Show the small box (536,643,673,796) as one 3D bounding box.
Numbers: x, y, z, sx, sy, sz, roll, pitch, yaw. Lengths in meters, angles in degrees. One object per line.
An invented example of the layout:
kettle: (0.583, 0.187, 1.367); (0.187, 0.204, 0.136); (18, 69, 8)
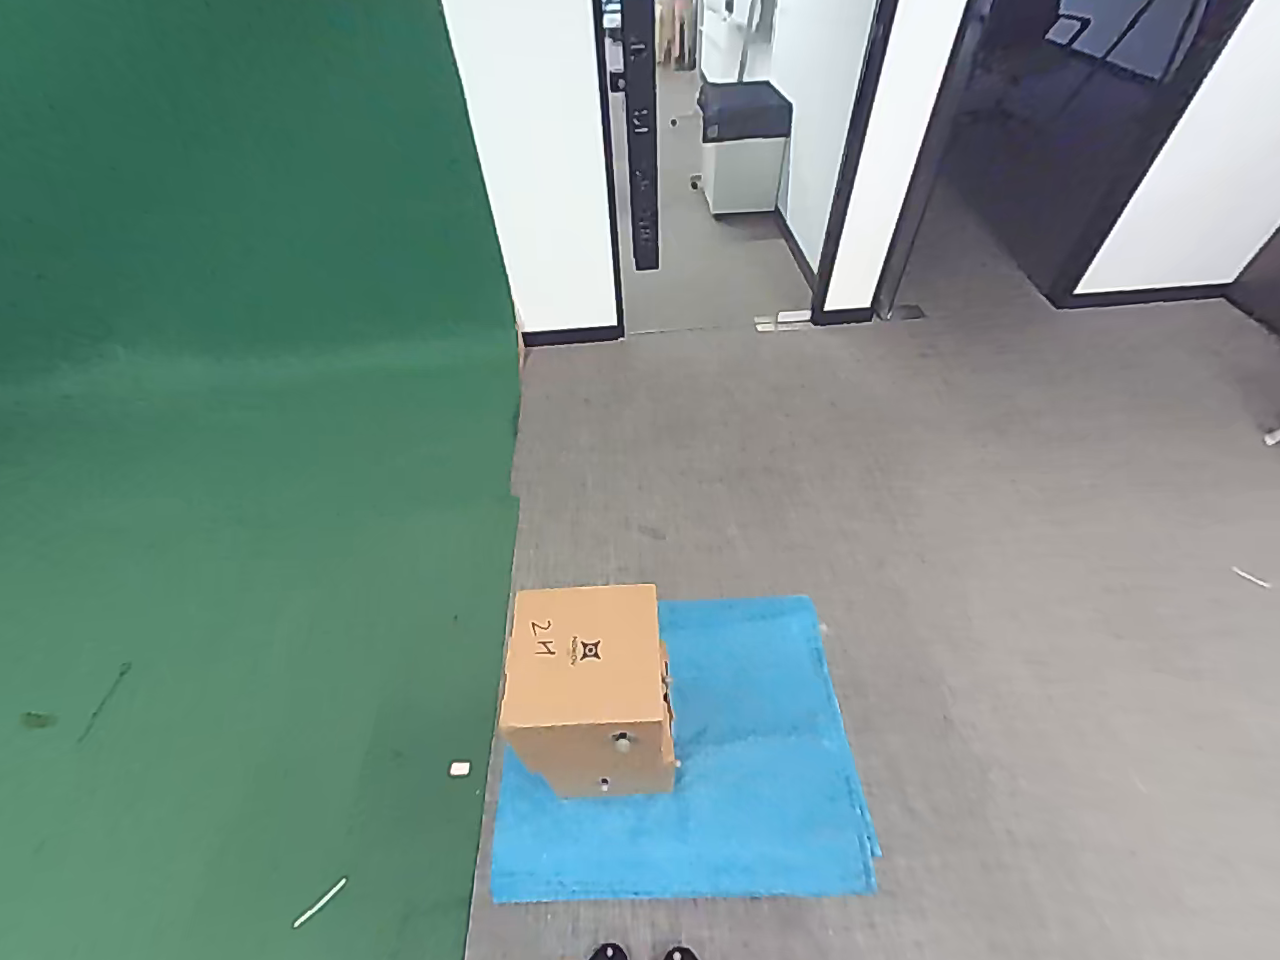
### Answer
small box: (-0.045, 0.350, 0.790); (0.179, 0.176, 0.168); (-3, 48, 1)

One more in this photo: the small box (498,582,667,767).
small box: (-0.060, 0.242, 0.667); (0.179, 0.176, 0.168); (-3, 47, 0)
